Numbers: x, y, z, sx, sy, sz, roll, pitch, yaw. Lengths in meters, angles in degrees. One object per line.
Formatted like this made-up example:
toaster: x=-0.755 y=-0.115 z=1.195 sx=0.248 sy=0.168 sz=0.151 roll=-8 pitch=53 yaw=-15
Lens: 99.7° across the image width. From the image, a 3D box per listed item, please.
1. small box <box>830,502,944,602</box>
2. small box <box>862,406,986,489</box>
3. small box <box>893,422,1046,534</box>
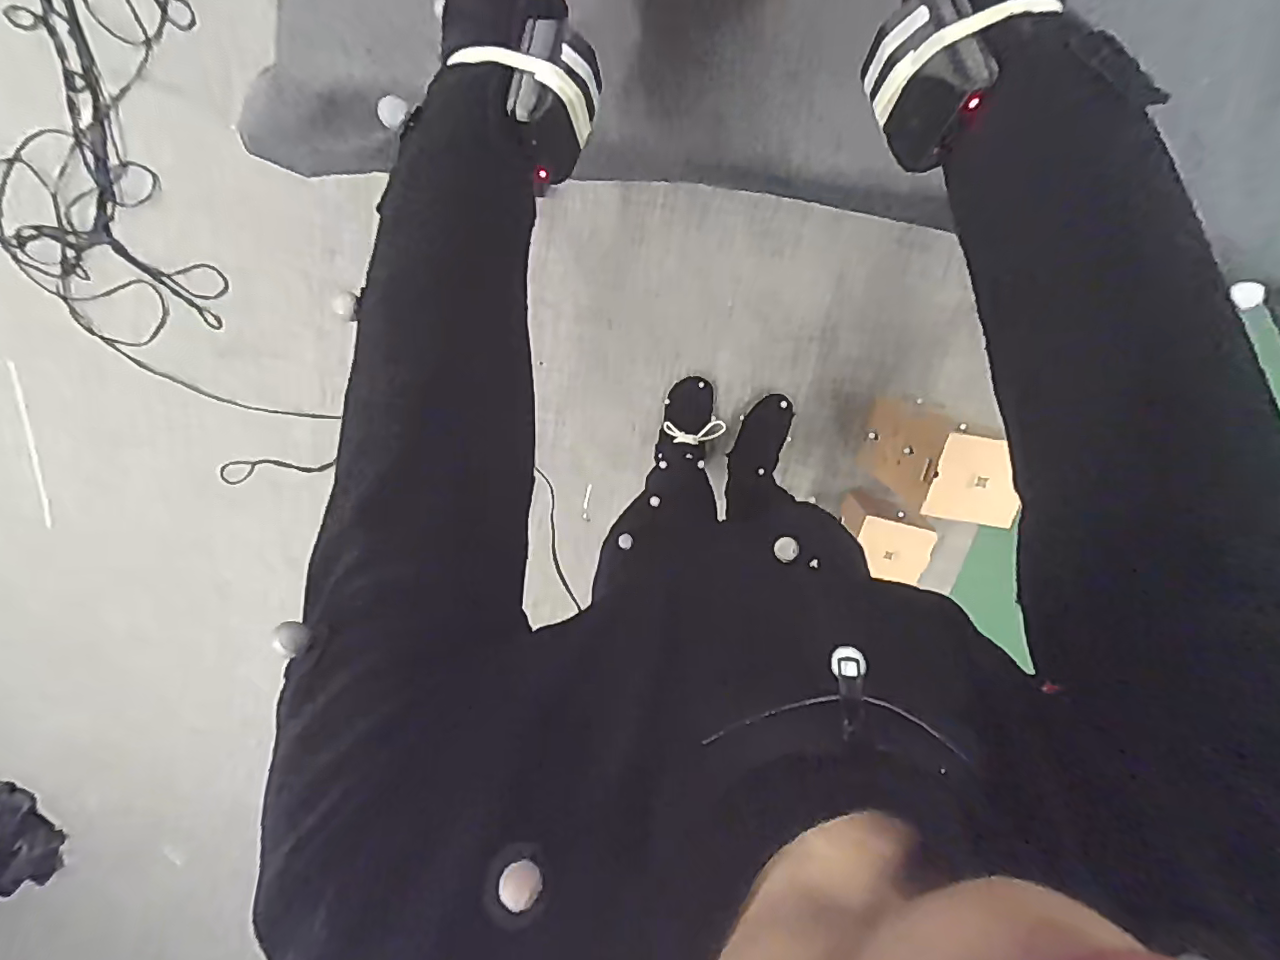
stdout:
small box: x=0.584 y=0.165 z=1.302 sx=0.179 sy=0.176 sz=0.168 roll=14 pitch=107 yaw=1
small box: x=0.628 y=-0.066 z=1.223 sx=0.179 sy=0.176 sz=0.168 roll=10 pitch=107 yaw=1
small box: x=0.636 y=-0.011 z=1.068 sx=0.179 sy=0.176 sz=0.168 roll=9 pitch=108 yaw=1
